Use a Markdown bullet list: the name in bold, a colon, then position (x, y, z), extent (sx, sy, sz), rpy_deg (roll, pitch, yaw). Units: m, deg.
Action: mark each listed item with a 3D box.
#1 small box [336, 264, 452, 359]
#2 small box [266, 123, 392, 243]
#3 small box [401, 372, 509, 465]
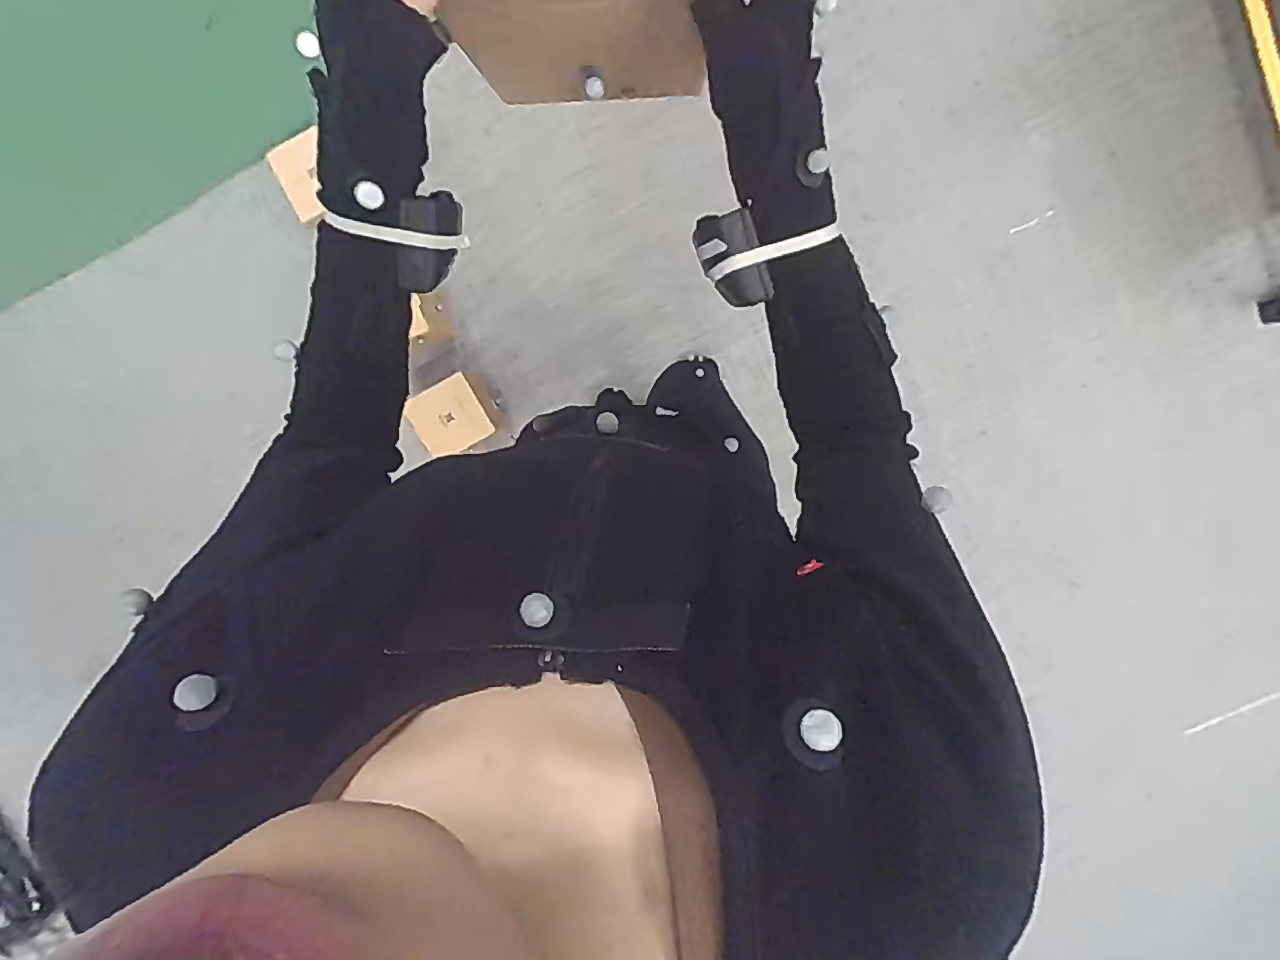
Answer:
- **small box**: position (-0.597, -0.405, 1.334), extent (0.179, 0.176, 0.168), rpy_deg (-20, 99, 4)
- **small box**: position (-0.721, -0.695, 1.285), extent (0.179, 0.176, 0.168), rpy_deg (-25, 99, 6)
- **small box**: position (-0.459, -0.159, 1.374), extent (0.179, 0.176, 0.168), rpy_deg (-29, 100, 4)
